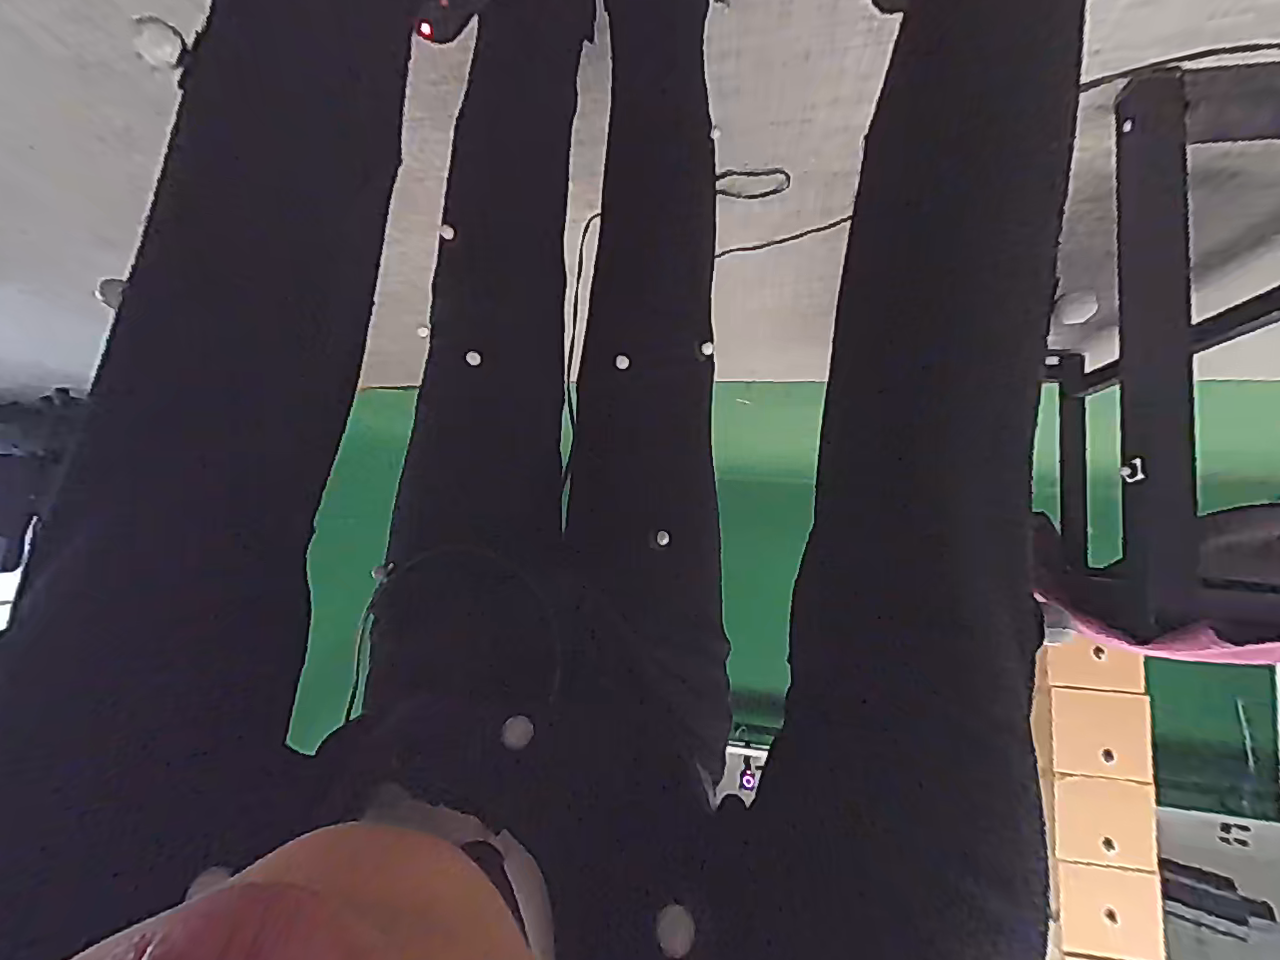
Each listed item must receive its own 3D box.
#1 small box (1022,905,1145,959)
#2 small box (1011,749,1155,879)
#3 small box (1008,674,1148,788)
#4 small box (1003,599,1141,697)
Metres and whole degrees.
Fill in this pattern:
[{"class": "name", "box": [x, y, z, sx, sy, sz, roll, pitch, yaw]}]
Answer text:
[{"class": "small box", "box": [0.888, 0.996, 1.074, 0.168, 0.176, 0.179, 1, 174, 10]}, {"class": "small box", "box": [0.899, 0.672, 1.113, 0.179, 0.176, 0.168, 2, 173, 10]}, {"class": "small box", "box": [0.904, 0.510, 1.130, 0.179, 0.176, 0.168, 3, 174, 9]}, {"class": "small box", "box": [0.906, 0.347, 1.150, 0.179, 0.176, 0.168, 2, 174, 9]}]
